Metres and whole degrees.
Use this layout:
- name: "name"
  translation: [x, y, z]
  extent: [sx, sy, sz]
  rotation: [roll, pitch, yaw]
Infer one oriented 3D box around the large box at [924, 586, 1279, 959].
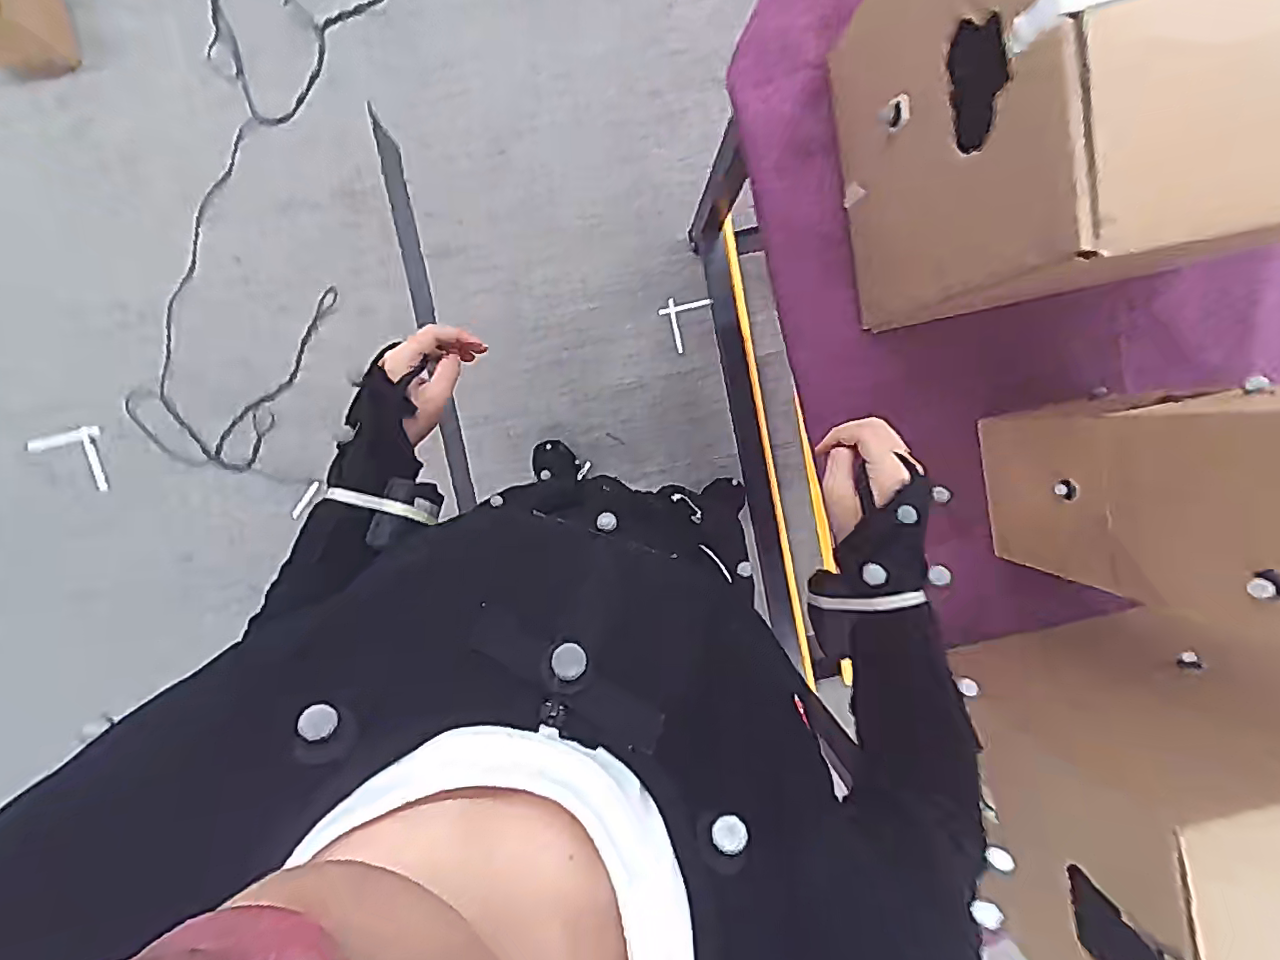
- name: "large box"
  translation: [0.585, 0.332, 0.549]
  extent: [0.408, 0.320, 0.320]
  rotation: [-13, 96, -3]
